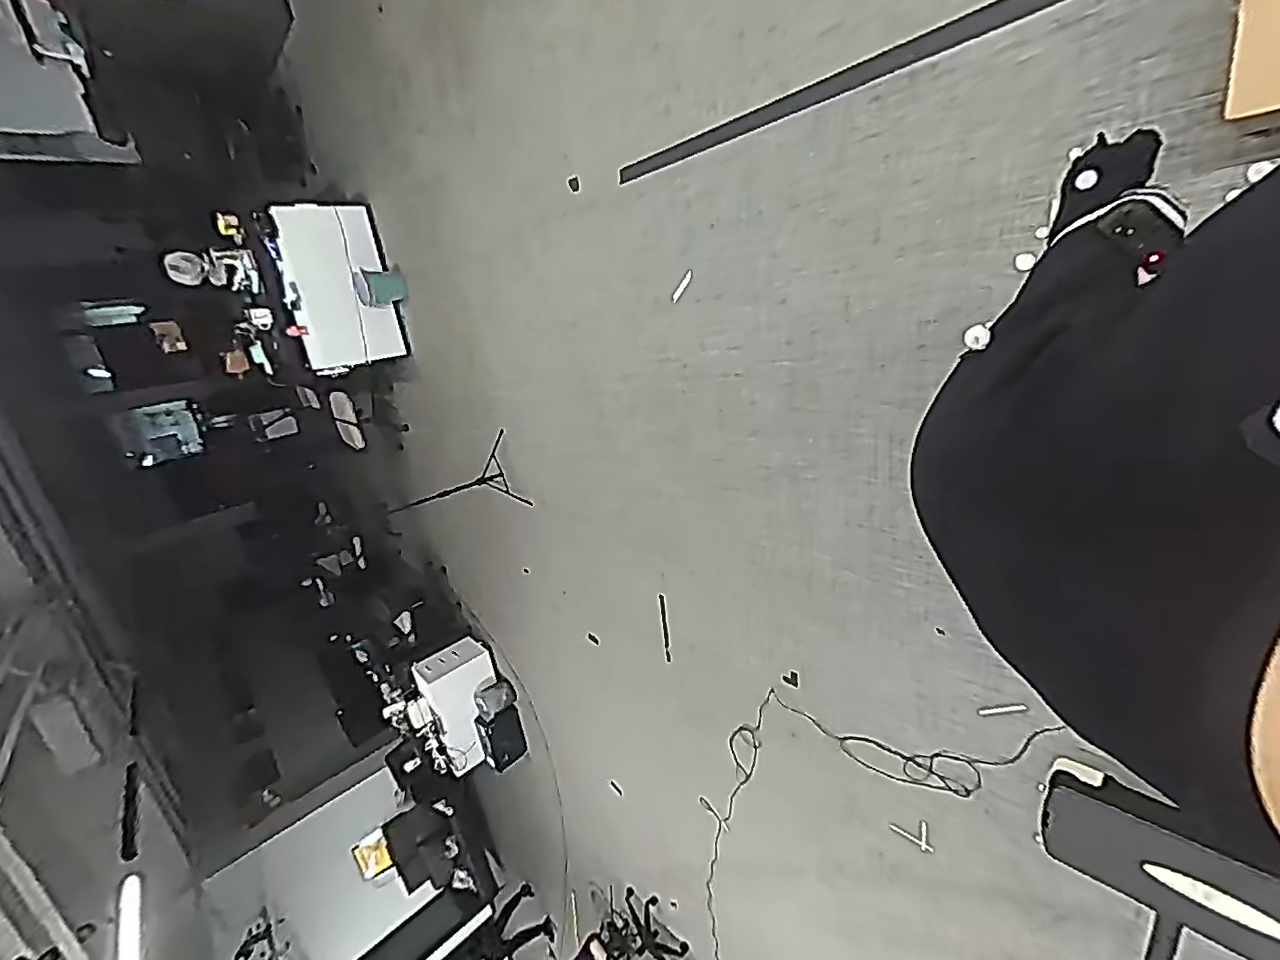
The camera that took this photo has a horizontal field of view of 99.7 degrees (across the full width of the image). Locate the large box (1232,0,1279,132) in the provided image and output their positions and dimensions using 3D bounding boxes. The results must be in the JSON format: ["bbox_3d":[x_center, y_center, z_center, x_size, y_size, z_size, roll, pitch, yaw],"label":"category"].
[{"bbox_3d":[1.031,-0.673,0.653,0.408,0.320,0.320,10,116,46],"label":"large box"}]
